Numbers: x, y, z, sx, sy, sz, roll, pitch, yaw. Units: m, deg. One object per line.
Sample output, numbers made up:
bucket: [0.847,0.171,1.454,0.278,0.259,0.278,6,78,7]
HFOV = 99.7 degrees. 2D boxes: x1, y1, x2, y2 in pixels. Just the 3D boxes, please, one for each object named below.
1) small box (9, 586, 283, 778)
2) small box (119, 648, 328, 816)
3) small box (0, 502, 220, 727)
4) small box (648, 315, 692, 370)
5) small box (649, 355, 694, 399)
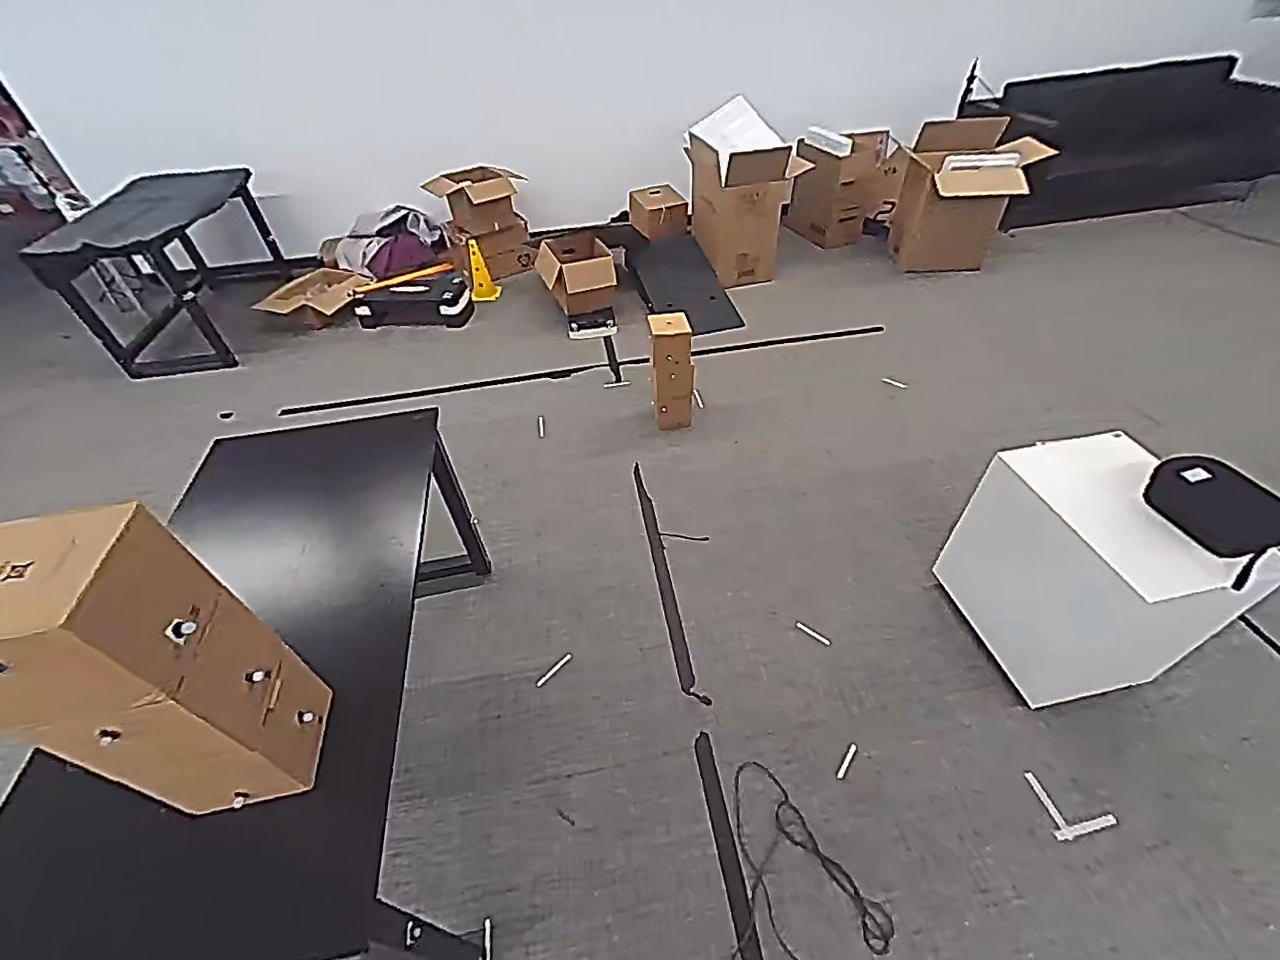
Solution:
small box: [-0.623,0.269,0.715,0.179,0.176,0.168,-10,45,-7]
small box: [-0.614,0.387,0.830,0.179,0.176,0.168,-10,44,-7]
small box: [-0.630,0.152,0.603,0.179,0.176,0.168,-10,46,-7]
small box: [0.126,-0.604,2.370,0.168,0.176,0.179,-7,45,-5]
small box: [0.144,-0.484,2.480,0.179,0.176,0.168,-8,44,-6]
